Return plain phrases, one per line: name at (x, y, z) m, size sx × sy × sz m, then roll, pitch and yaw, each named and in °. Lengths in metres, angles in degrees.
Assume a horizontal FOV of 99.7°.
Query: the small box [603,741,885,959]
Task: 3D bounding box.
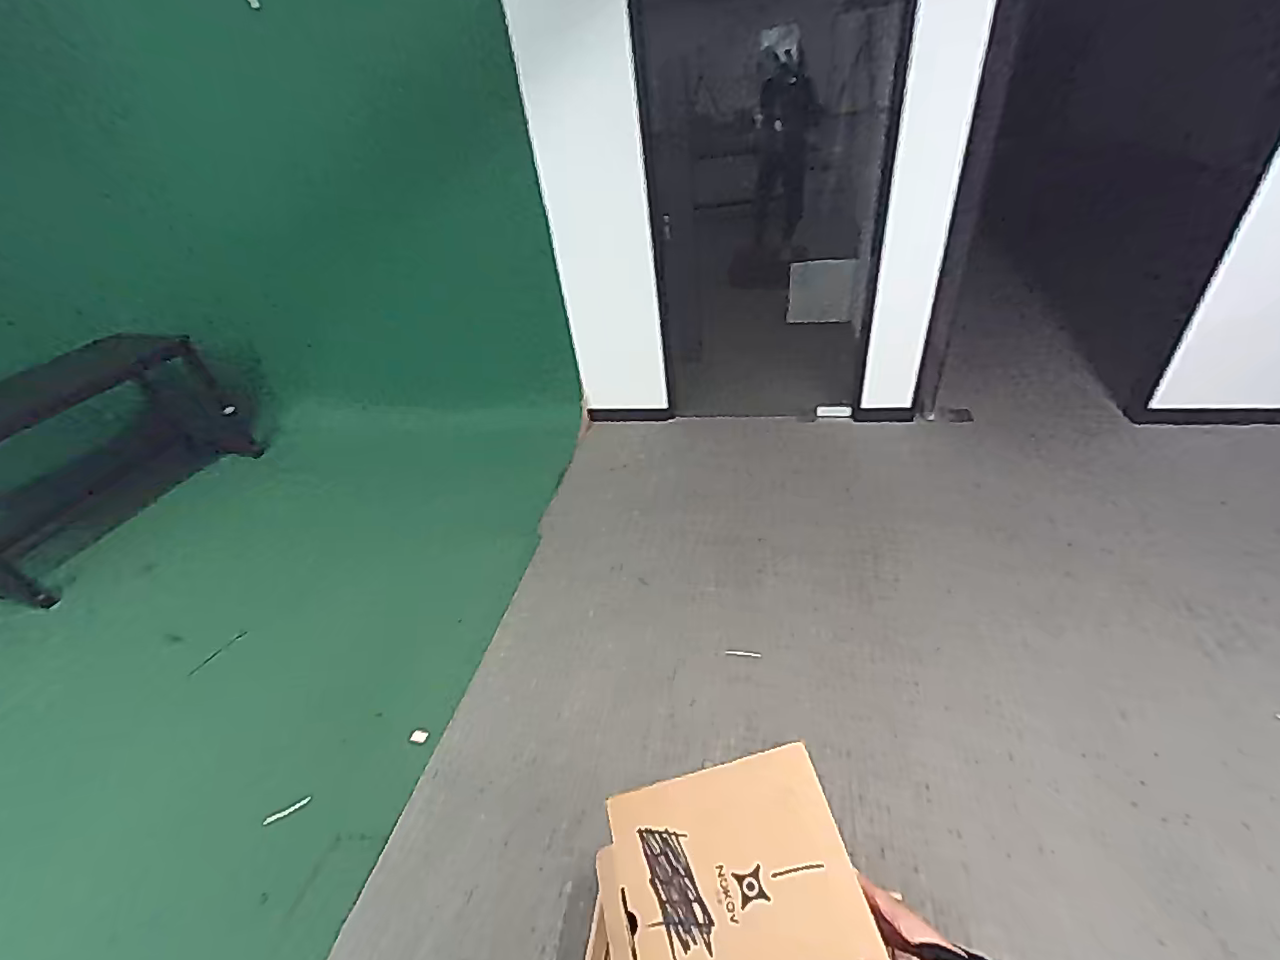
small box at (0.079, 0.353, 0.471) m, size 0.179 × 0.176 × 0.168 m, roll -15°, pitch 54°, yaw -5°
